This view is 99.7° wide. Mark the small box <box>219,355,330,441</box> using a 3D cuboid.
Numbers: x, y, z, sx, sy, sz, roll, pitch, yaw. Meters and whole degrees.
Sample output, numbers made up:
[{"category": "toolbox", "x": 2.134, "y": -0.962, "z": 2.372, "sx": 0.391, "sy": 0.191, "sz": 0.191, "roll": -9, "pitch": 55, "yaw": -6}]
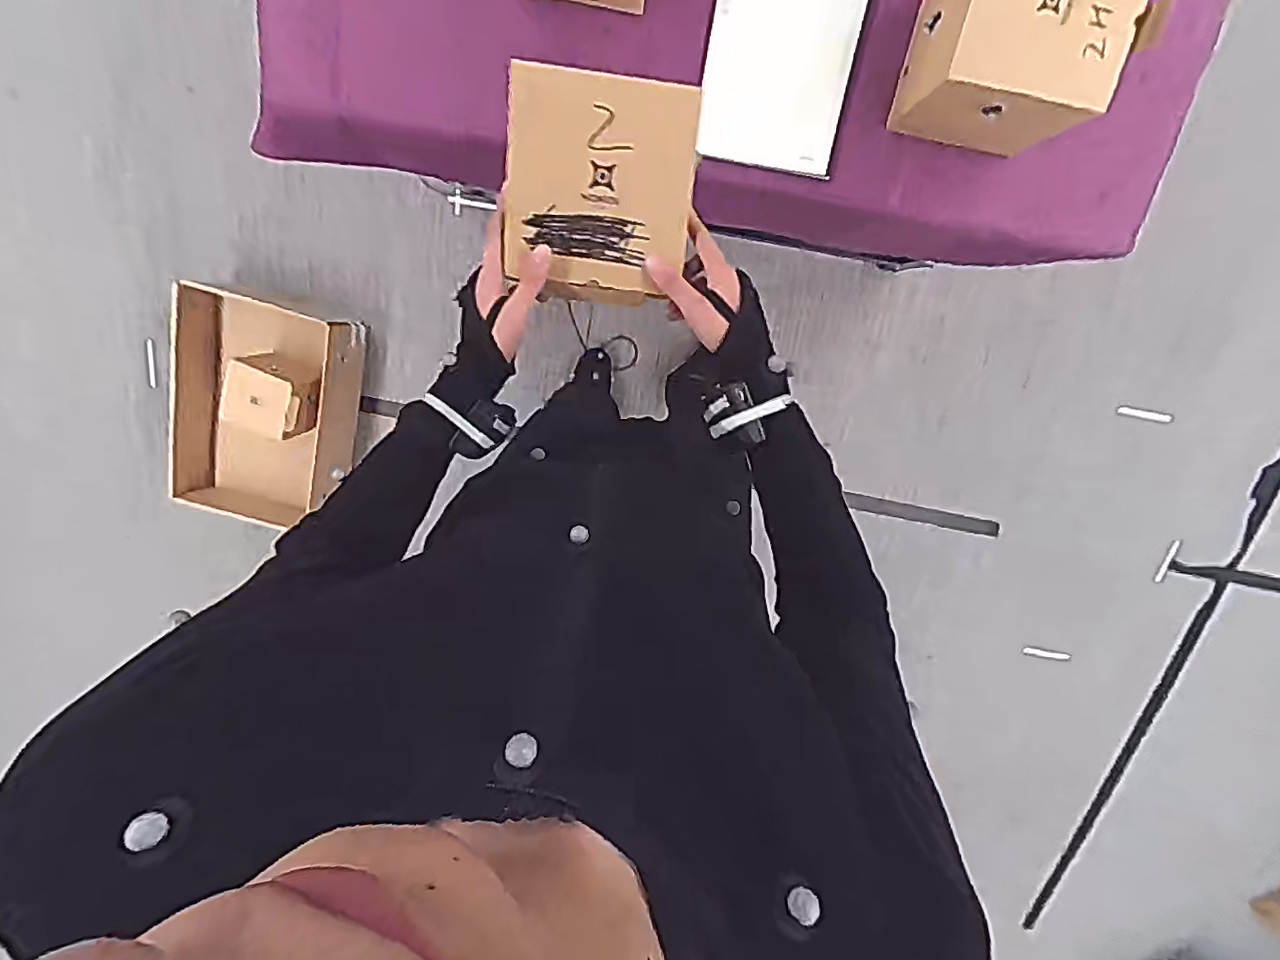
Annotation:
[{"category": "small box", "x": -0.987, "y": -0.231, "z": 1.472, "sx": 0.179, "sy": 0.176, "sz": 0.168, "roll": 24, "pitch": 107, "yaw": -5}]

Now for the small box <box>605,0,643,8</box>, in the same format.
[{"category": "small box", "x": -0.062, "y": -0.662, "z": 0.581, "sx": 0.168, "sy": 0.176, "sz": 0.179, "roll": 11, "pitch": 107, "yaw": -1}]

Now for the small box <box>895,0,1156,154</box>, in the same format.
[{"category": "small box", "x": 0.423, "y": -0.495, "z": 0.612, "sx": 0.179, "sy": 0.176, "sz": 0.168, "roll": 12, "pitch": 108, "yaw": -1}]
